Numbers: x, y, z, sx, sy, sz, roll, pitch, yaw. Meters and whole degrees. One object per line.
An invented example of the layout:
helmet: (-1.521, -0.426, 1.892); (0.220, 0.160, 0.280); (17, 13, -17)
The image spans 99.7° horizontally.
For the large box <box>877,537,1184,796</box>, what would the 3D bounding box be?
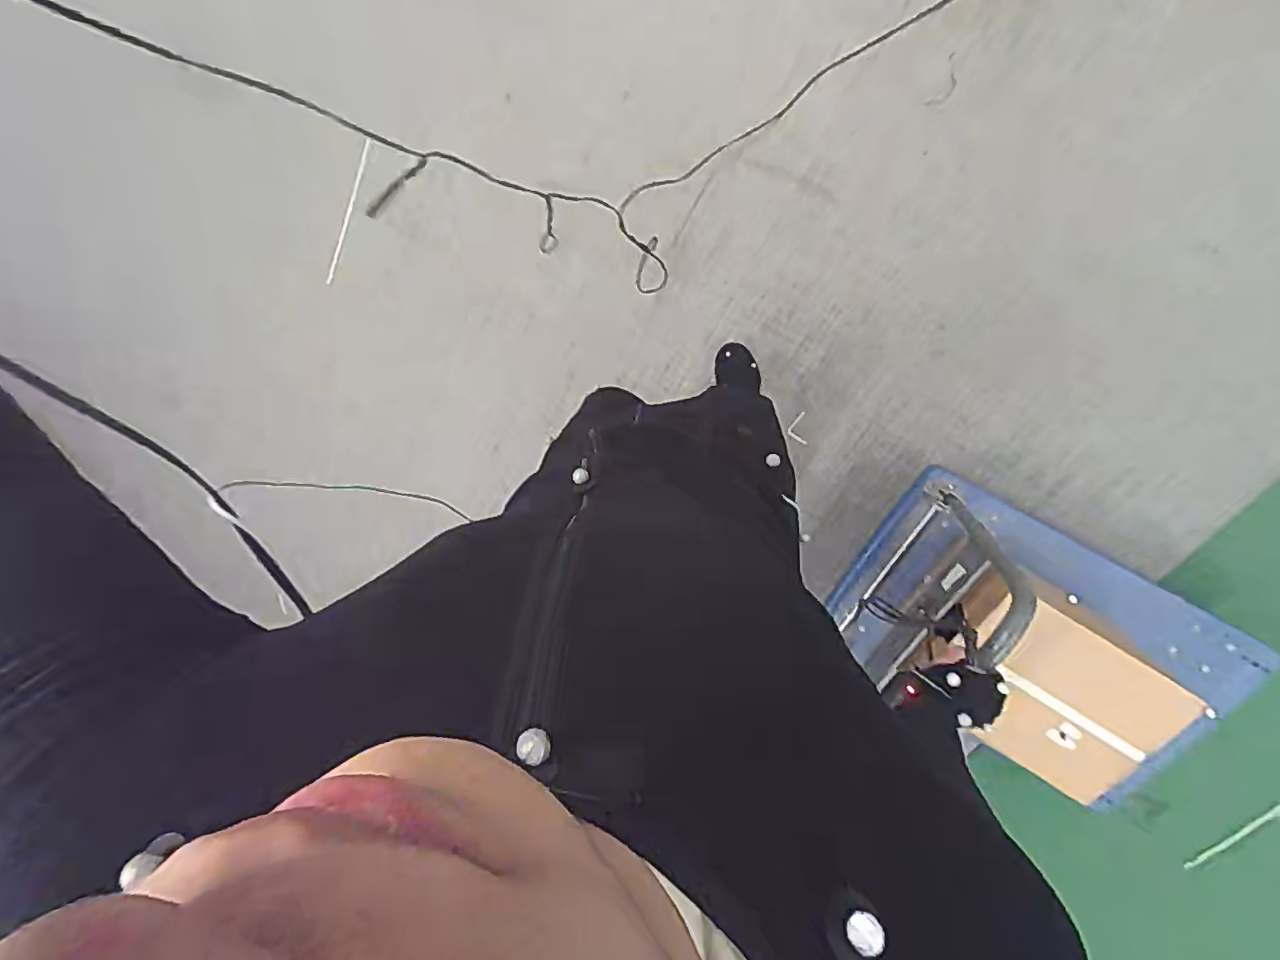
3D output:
large box: (0.824, 0.394, 1.225); (0.408, 0.320, 0.320); (32, 110, 4)
